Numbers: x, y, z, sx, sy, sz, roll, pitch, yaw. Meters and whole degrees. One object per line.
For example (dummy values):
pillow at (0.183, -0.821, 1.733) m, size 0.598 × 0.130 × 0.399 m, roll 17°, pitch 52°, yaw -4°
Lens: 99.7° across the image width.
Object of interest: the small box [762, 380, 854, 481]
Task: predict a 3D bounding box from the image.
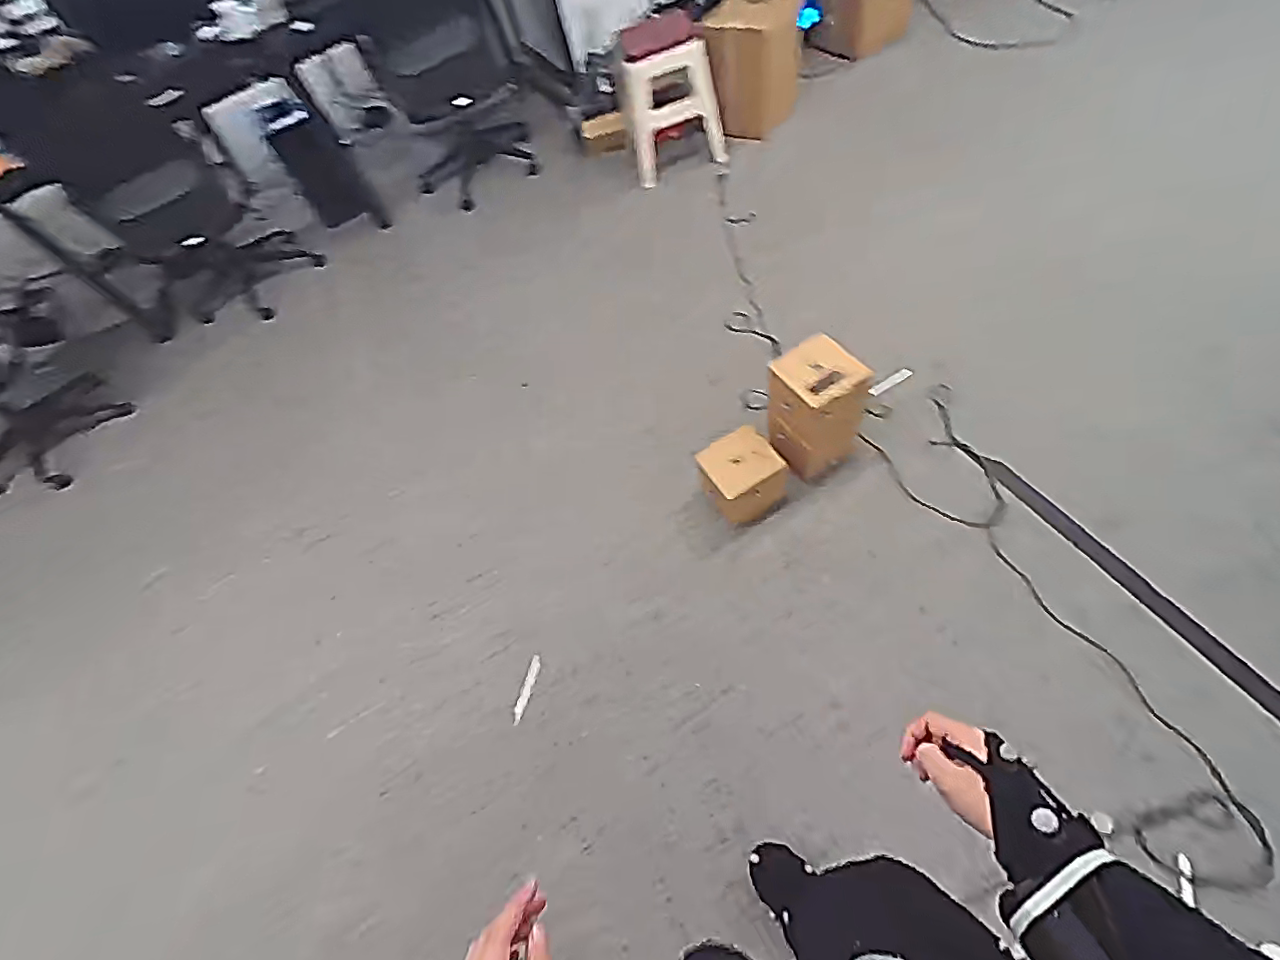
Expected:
small box at (0.450, -0.131, 1.475) m, size 0.168 × 0.176 × 0.179 m, roll -32°, pitch 58°, yaw -6°

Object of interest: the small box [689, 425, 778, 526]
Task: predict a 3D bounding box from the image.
small box at (0.256, -0.006, 1.448) m, size 0.179 × 0.176 × 0.168 m, roll -31°, pitch 58°, yaw -5°
